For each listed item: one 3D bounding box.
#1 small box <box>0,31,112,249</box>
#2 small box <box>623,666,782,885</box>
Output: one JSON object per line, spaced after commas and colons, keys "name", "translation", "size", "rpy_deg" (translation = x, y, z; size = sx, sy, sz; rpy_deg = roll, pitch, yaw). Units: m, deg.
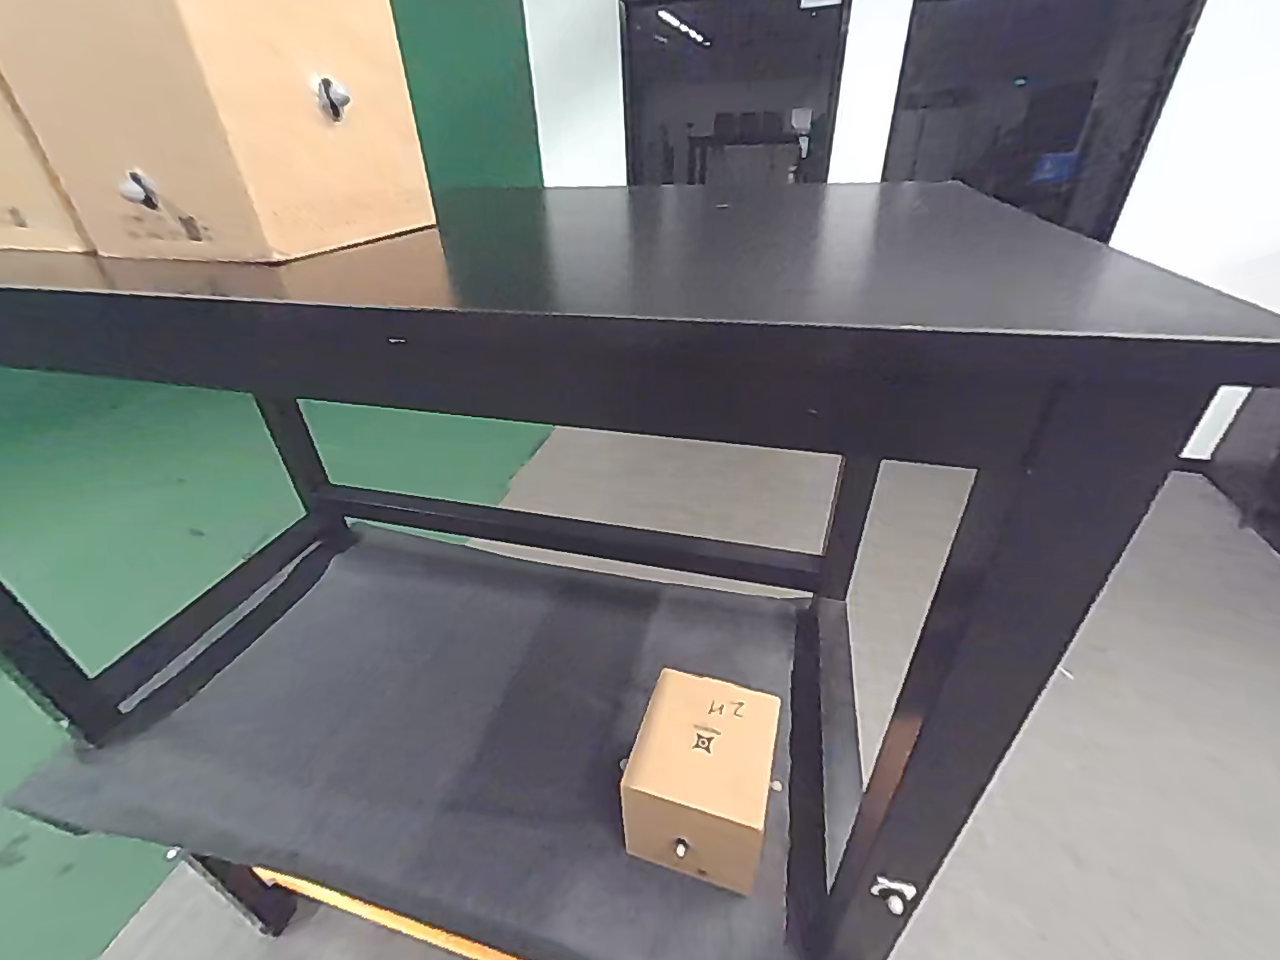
{"name": "small box", "translation": [-0.657, -0.310, 0.501], "size": [0.168, 0.176, 0.179], "rpy_deg": [8, 35, 15]}
{"name": "small box", "translation": [0.087, 0.388, 0.716], "size": [0.168, 0.176, 0.179], "rpy_deg": [10, 34, 17]}
